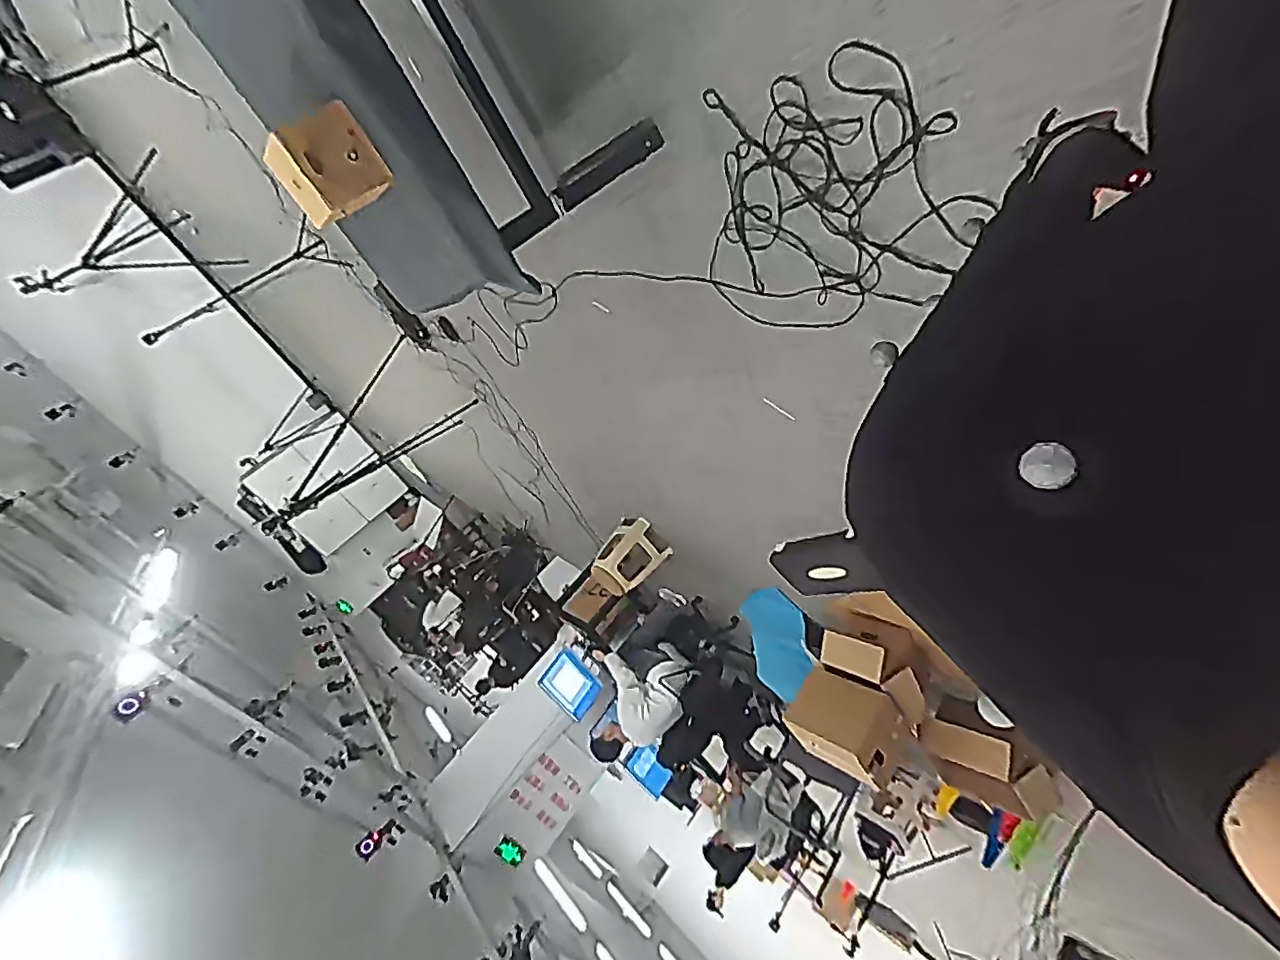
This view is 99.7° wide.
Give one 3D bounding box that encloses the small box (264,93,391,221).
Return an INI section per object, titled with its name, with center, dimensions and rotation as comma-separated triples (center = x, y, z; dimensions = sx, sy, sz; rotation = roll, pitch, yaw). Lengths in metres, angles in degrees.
[small box]
center = -0.684, -0.706, 1.191
dimensions = 0.179, 0.176, 0.168
rotation = 11, 140, 50
